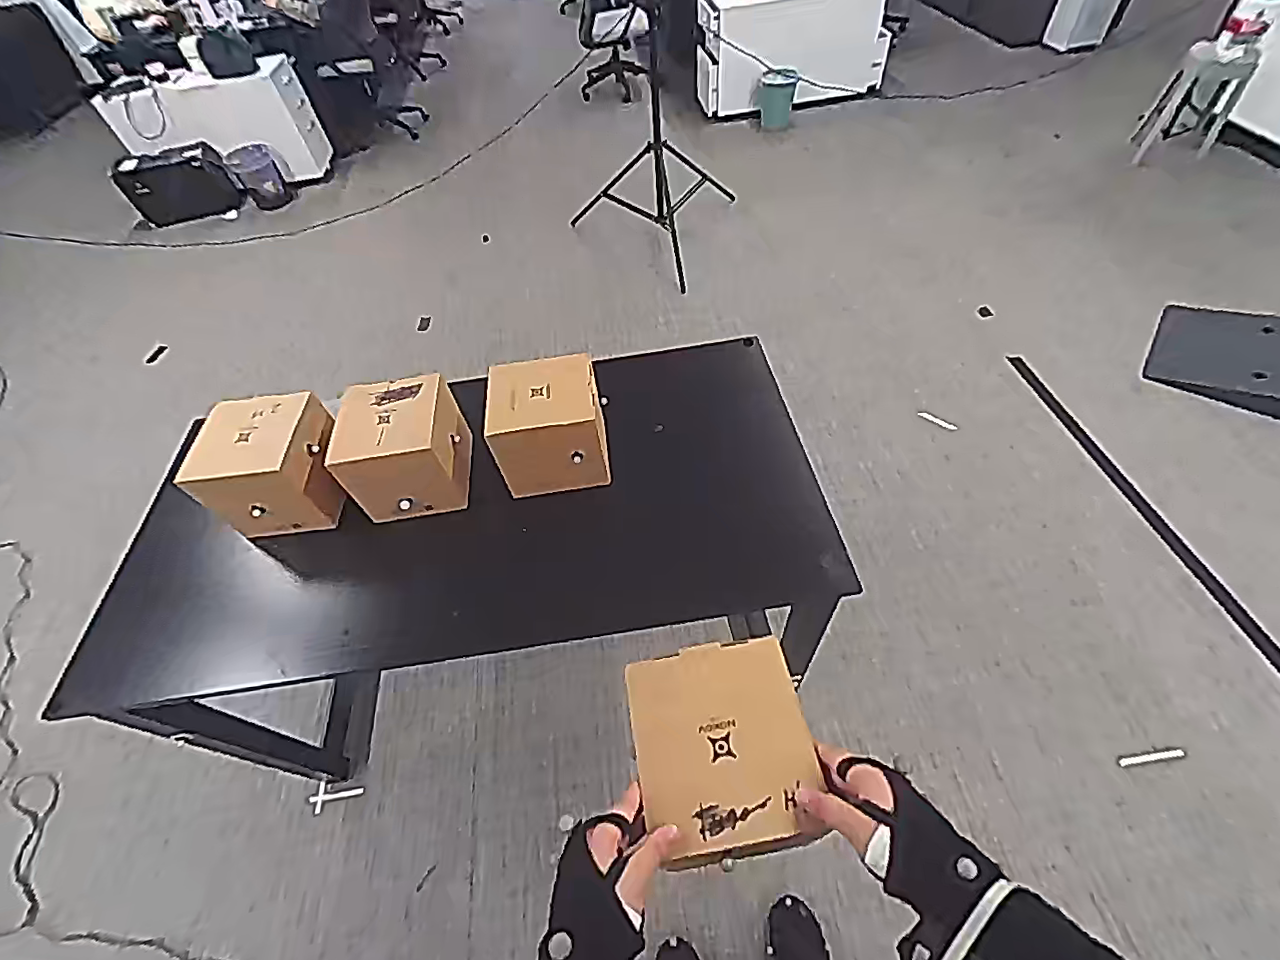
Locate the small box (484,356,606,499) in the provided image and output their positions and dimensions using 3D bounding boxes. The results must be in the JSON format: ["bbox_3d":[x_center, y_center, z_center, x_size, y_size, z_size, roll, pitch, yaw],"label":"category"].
[{"bbox_3d":[-0.156,-0.087,0.940,0.179,0.176,0.168,-10,51,0],"label":"small box"}]

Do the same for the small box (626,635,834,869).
[{"bbox_3d":[0.084,0.293,0.578,0.168,0.176,0.179,-11,52,0],"label":"small box"}]

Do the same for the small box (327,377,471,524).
[{"bbox_3d":[-0.401,-0.048,0.935,0.168,0.176,0.179,-10,54,-2],"label":"small box"}]

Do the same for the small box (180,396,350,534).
[{"bbox_3d":[-0.624,-0.018,0.937,0.168,0.176,0.179,-6,52,0],"label":"small box"}]
